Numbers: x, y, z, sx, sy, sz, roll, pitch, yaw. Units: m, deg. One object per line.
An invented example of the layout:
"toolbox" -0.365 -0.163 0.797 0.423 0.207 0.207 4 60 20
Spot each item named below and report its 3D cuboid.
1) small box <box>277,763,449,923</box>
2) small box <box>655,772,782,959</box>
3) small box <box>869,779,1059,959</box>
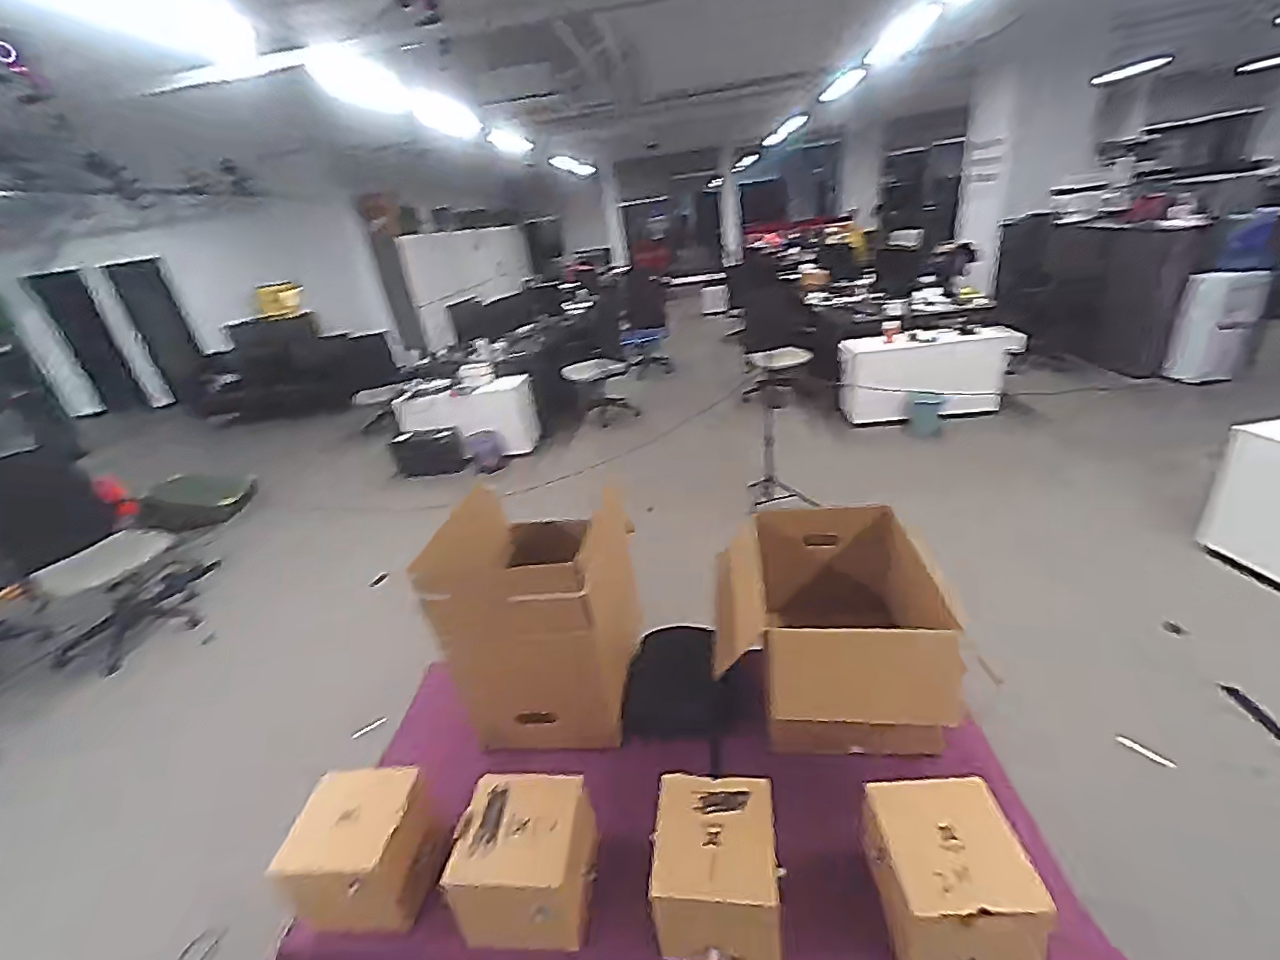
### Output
"small box" -0.450 0.607 0.908 0.179 0.176 0.168 -4 26 5
"small box" 0.121 0.574 0.806 0.168 0.176 0.179 -3 27 11
"small box" 0.429 0.553 0.753 0.168 0.176 0.179 -6 26 7
